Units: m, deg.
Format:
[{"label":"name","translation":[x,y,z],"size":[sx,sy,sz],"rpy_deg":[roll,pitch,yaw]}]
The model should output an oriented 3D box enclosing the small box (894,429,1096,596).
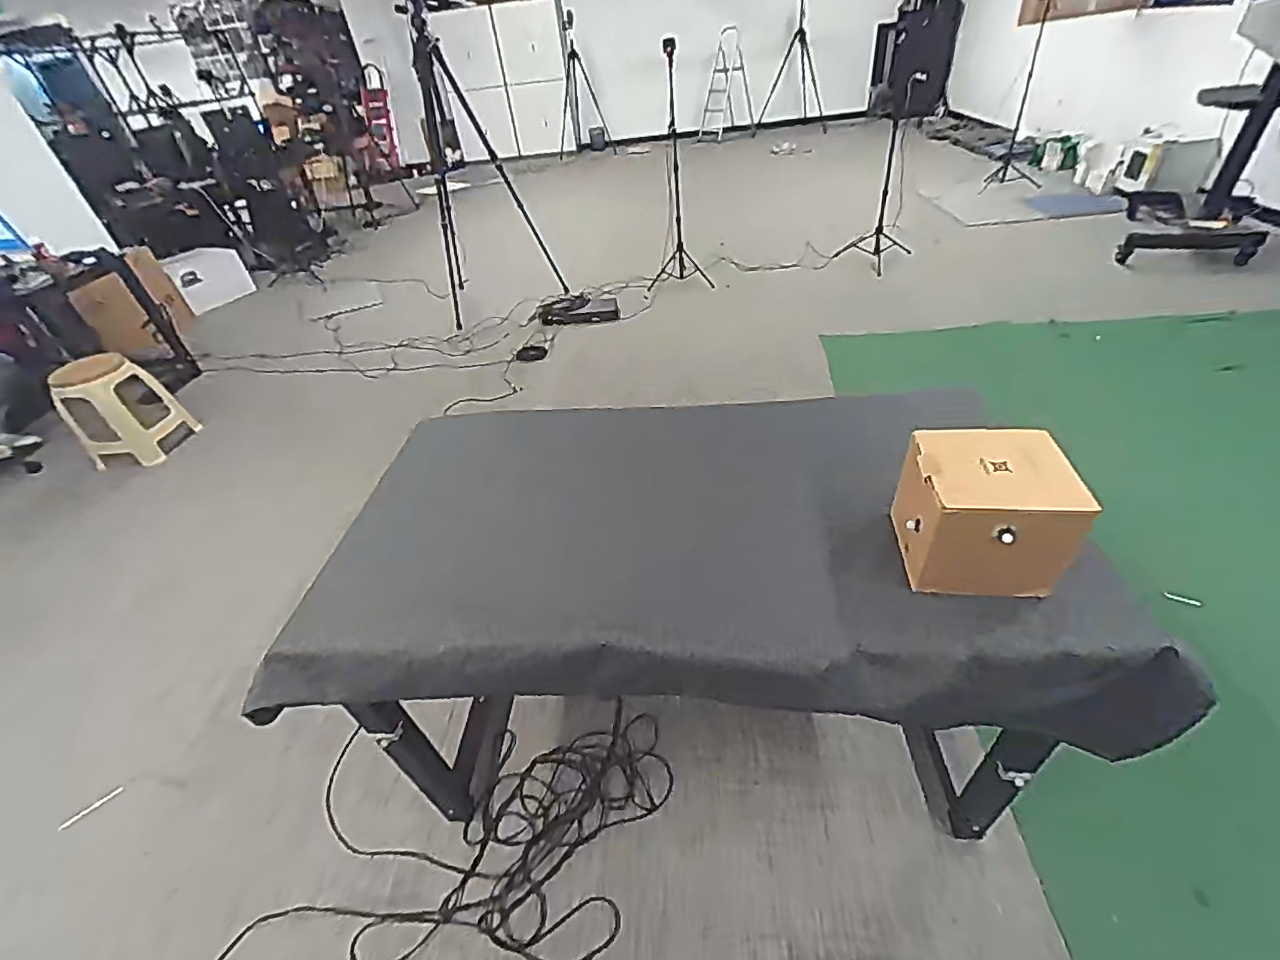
[{"label":"small box","translation":[0.468,0.044,0.753],"size":[0.179,0.176,0.168],"rpy_deg":[1,41,10]}]
